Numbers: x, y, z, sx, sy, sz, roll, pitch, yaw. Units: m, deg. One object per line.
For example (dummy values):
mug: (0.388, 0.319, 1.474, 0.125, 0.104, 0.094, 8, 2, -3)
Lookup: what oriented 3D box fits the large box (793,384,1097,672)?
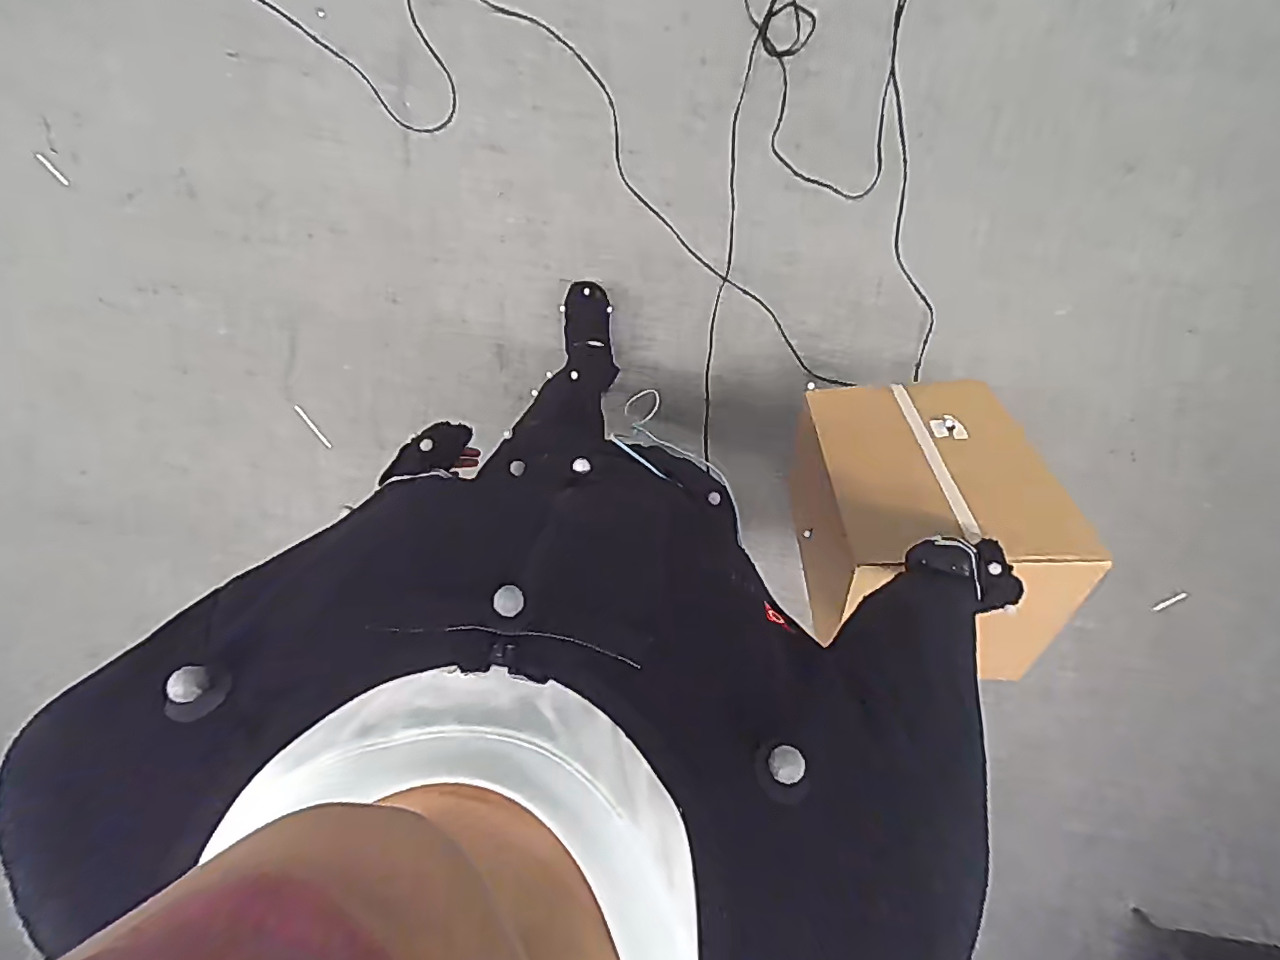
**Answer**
large box: (0.462, 0.078, 0.947, 0.320, 0.408, 0.320, -1, 132, 6)
